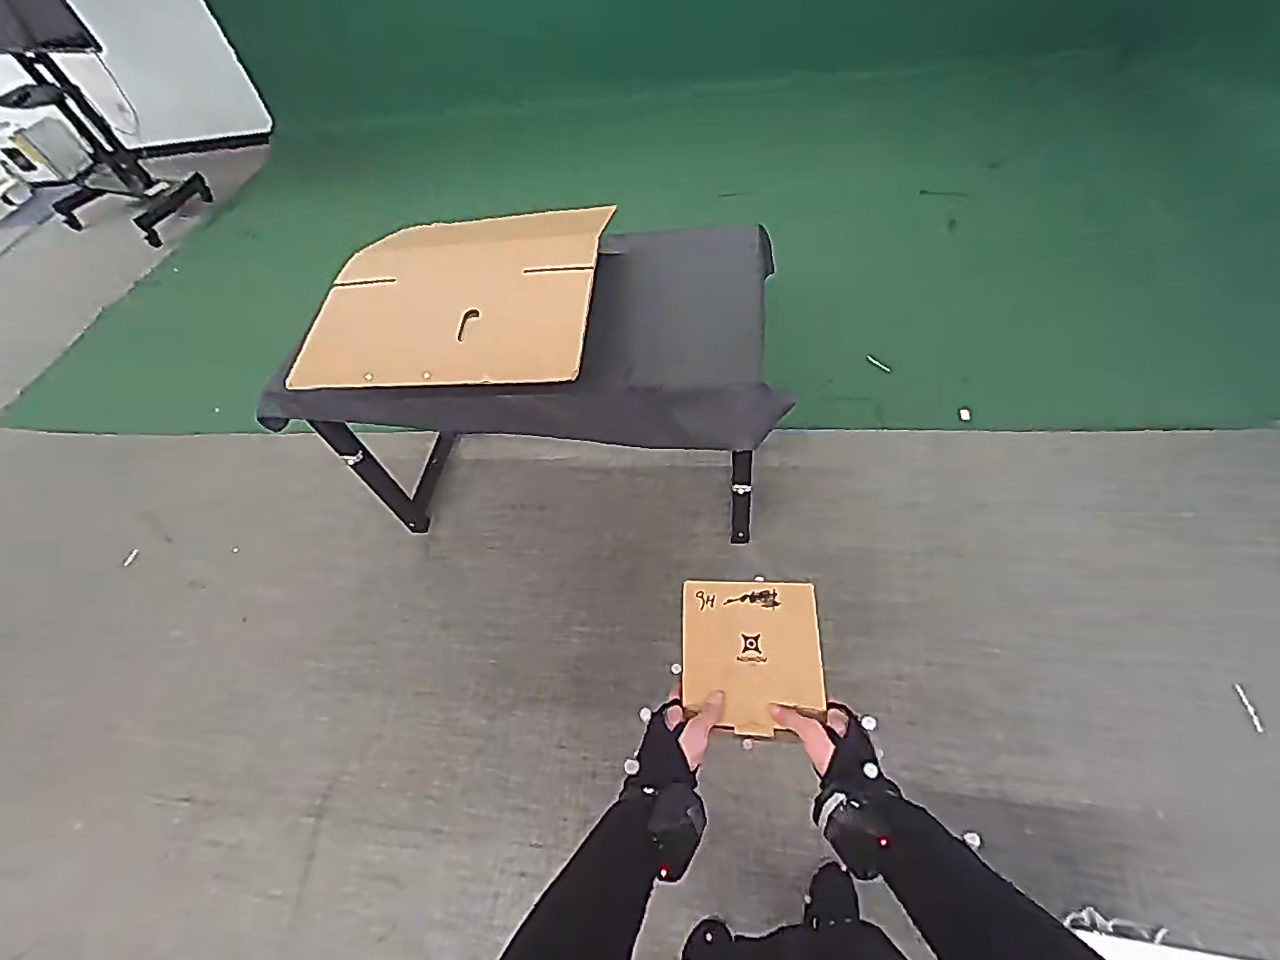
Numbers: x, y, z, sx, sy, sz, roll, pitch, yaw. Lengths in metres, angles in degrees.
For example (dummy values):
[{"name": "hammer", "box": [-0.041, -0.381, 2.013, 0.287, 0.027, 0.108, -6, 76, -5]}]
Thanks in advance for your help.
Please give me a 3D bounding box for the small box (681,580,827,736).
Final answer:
[{"name": "small box", "box": [0.142, 0.245, 0.729, 0.168, 0.176, 0.179, -2, 61, 5]}]
